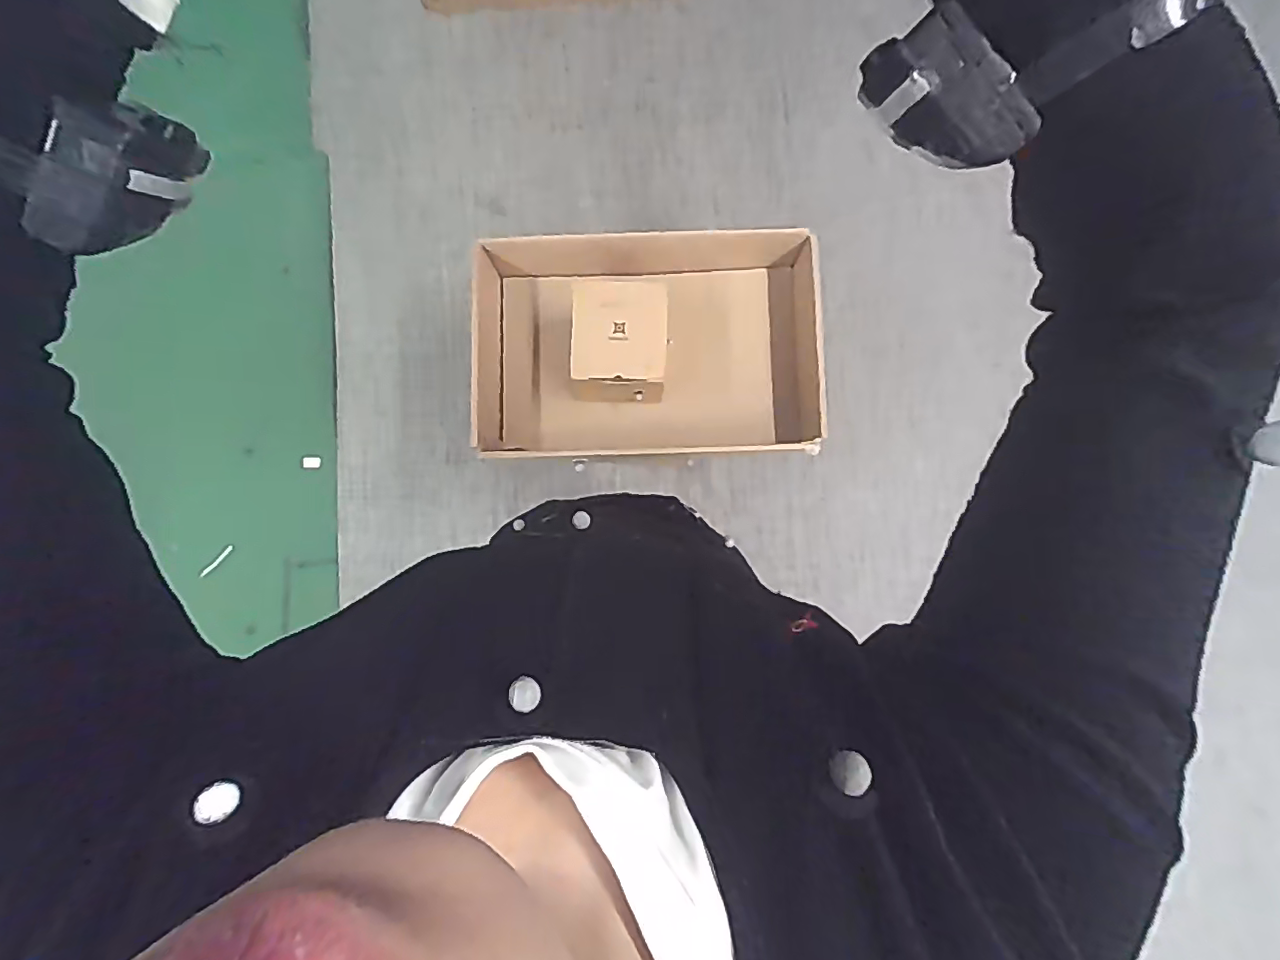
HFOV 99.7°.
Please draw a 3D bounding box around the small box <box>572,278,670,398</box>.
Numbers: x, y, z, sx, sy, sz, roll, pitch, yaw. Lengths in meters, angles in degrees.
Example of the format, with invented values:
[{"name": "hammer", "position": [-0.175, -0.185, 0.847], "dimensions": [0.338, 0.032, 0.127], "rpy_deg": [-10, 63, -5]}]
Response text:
[{"name": "small box", "position": [-0.032, -0.256, 1.009], "dimensions": [0.168, 0.176, 0.179], "rpy_deg": [1, 84, -1]}]
